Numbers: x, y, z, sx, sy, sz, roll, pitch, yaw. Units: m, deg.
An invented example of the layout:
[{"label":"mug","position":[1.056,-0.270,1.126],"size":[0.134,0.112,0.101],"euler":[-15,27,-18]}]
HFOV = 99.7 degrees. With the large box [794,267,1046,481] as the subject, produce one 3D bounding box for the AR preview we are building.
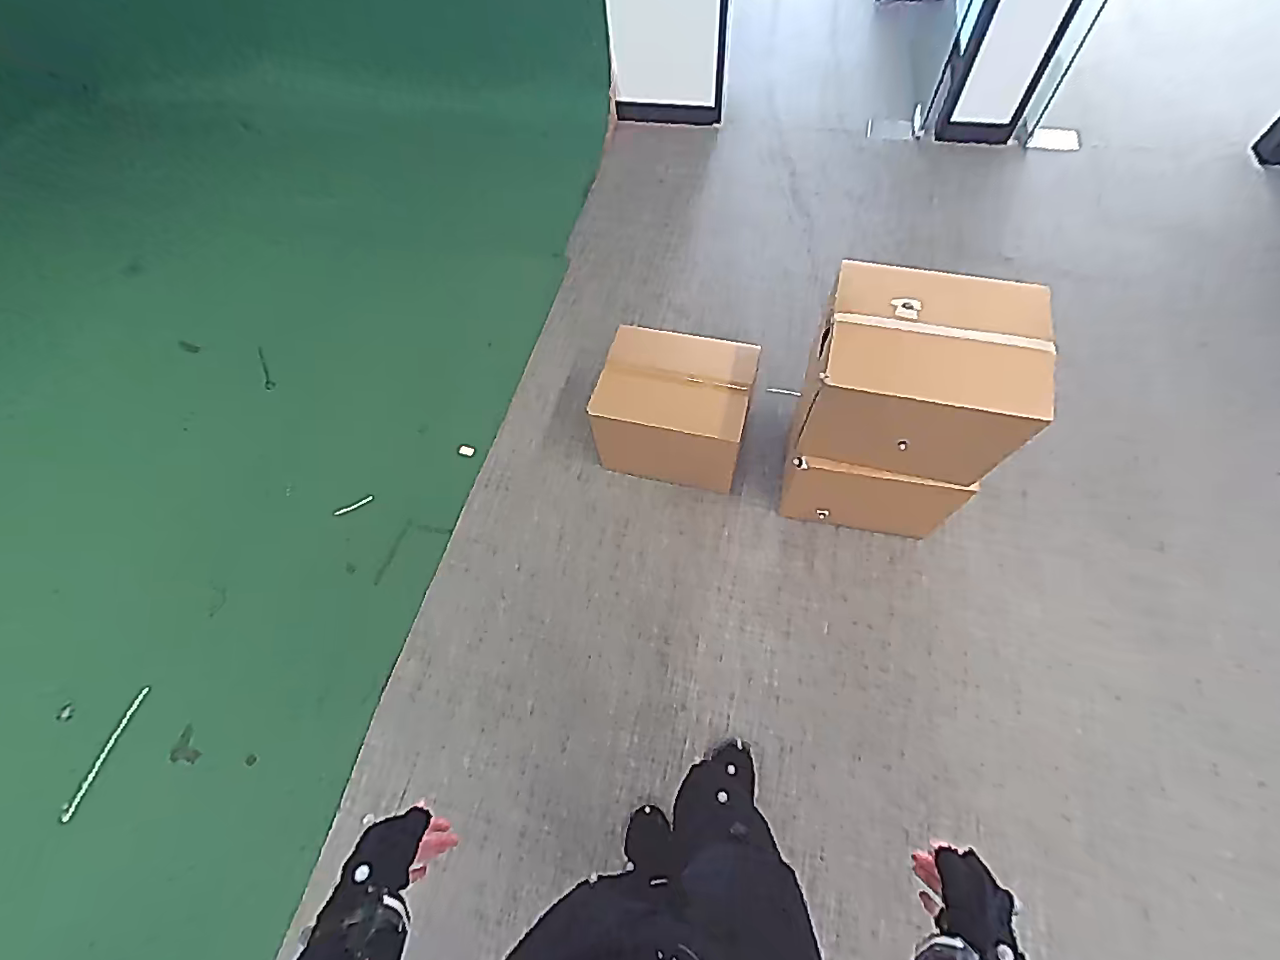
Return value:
[{"label":"large box","position":[0.582,-0.220,1.184],"size":[0.408,0.320,0.320],"euler":[11,68,11]}]
